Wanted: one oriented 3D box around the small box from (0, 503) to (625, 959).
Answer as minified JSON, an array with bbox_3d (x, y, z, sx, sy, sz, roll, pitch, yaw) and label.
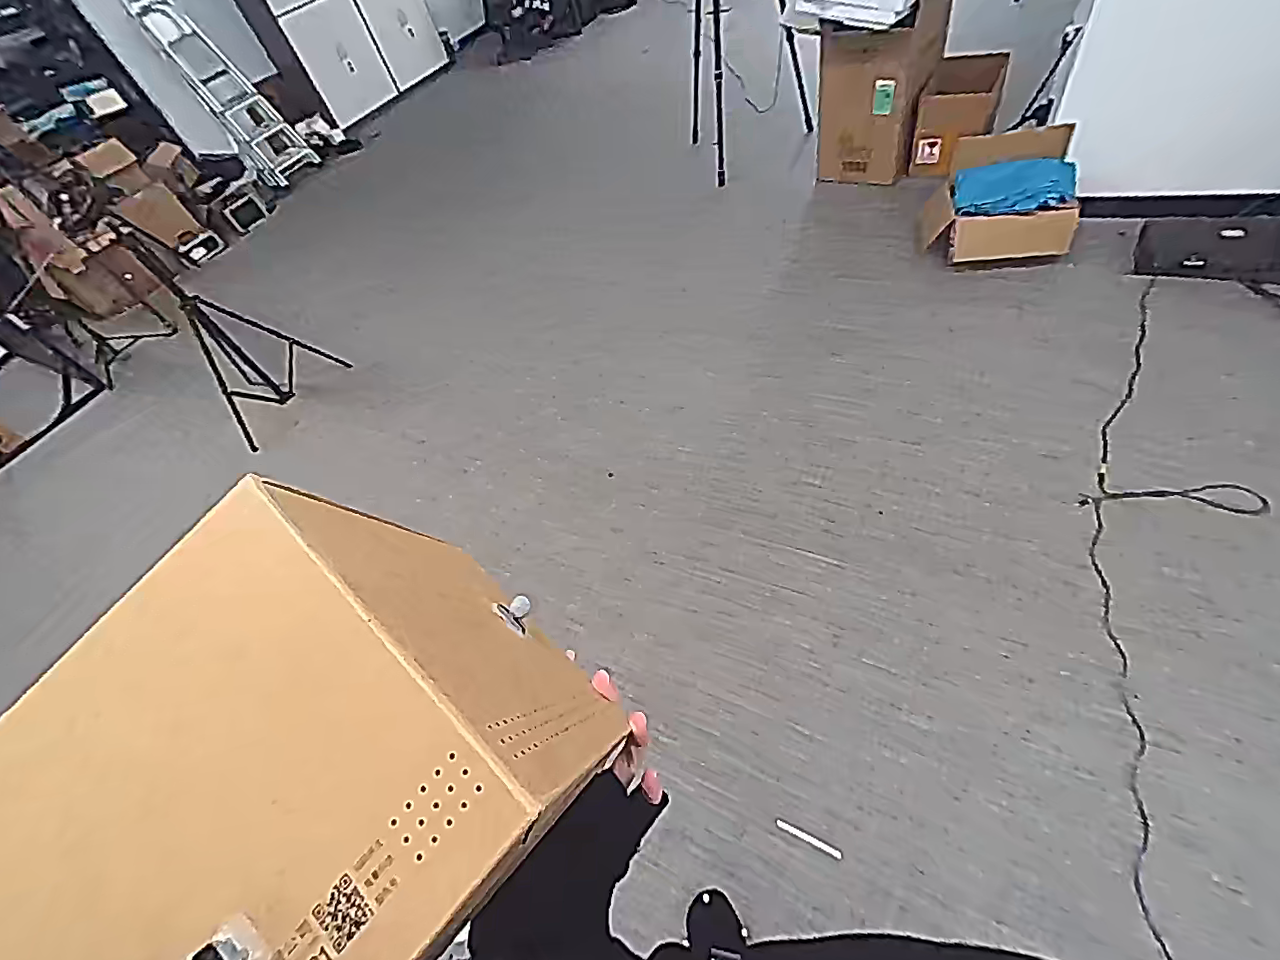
[{"bbox_3d":[-0.129,0.142,0.272,0.176,0.179,0.168,39,83,18],"label":"small box"}]
